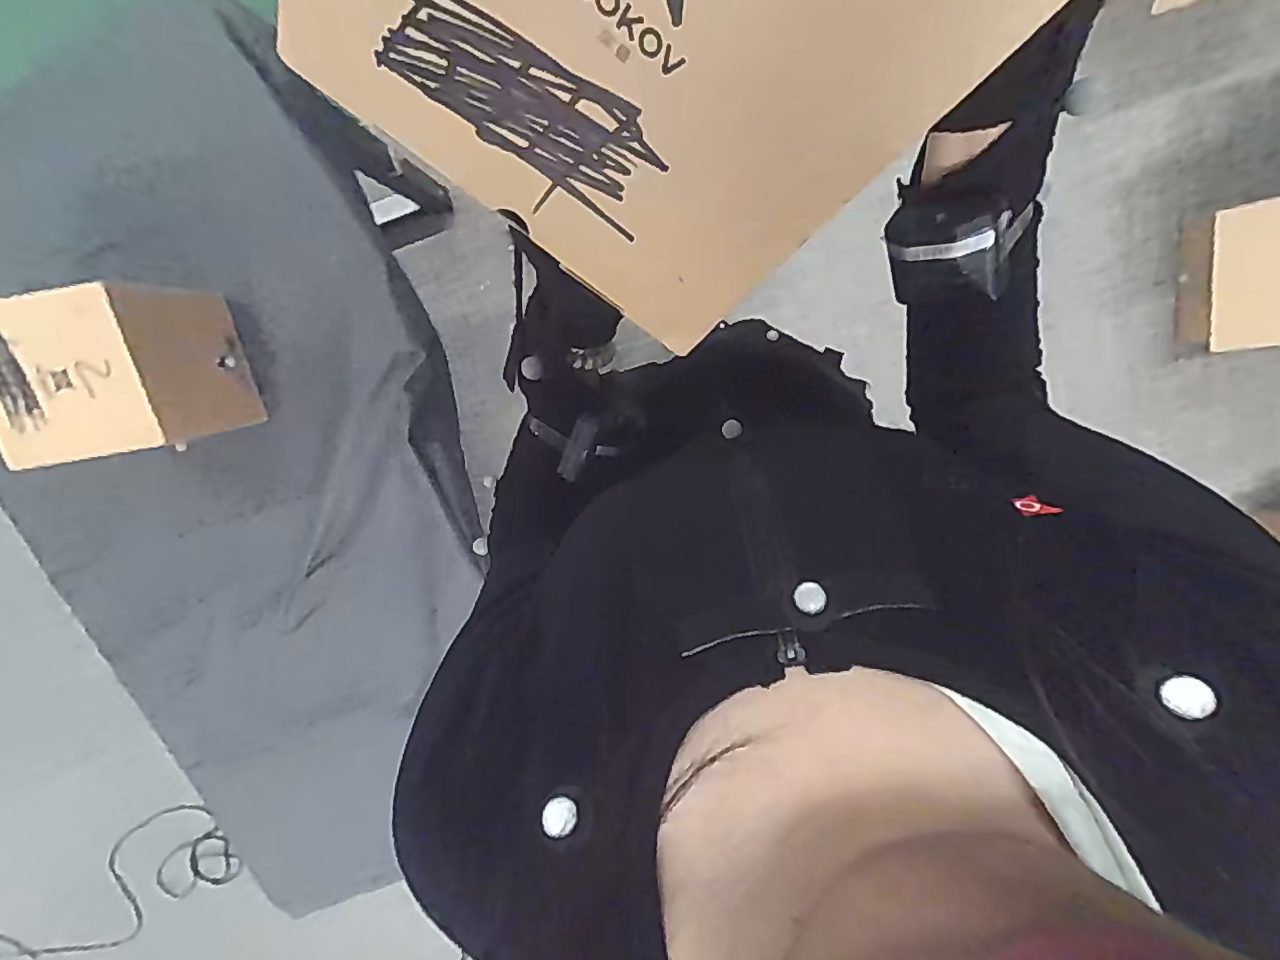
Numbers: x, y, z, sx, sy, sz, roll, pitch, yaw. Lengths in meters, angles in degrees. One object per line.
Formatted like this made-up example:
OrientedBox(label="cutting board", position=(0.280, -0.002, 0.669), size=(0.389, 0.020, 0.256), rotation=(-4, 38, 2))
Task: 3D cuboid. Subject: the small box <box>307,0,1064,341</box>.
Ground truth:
OrientedBox(label="small box", position=(0.020, -0.194, 0.194), size=(0.168, 0.176, 0.179), rotation=(31, 140, -21))
